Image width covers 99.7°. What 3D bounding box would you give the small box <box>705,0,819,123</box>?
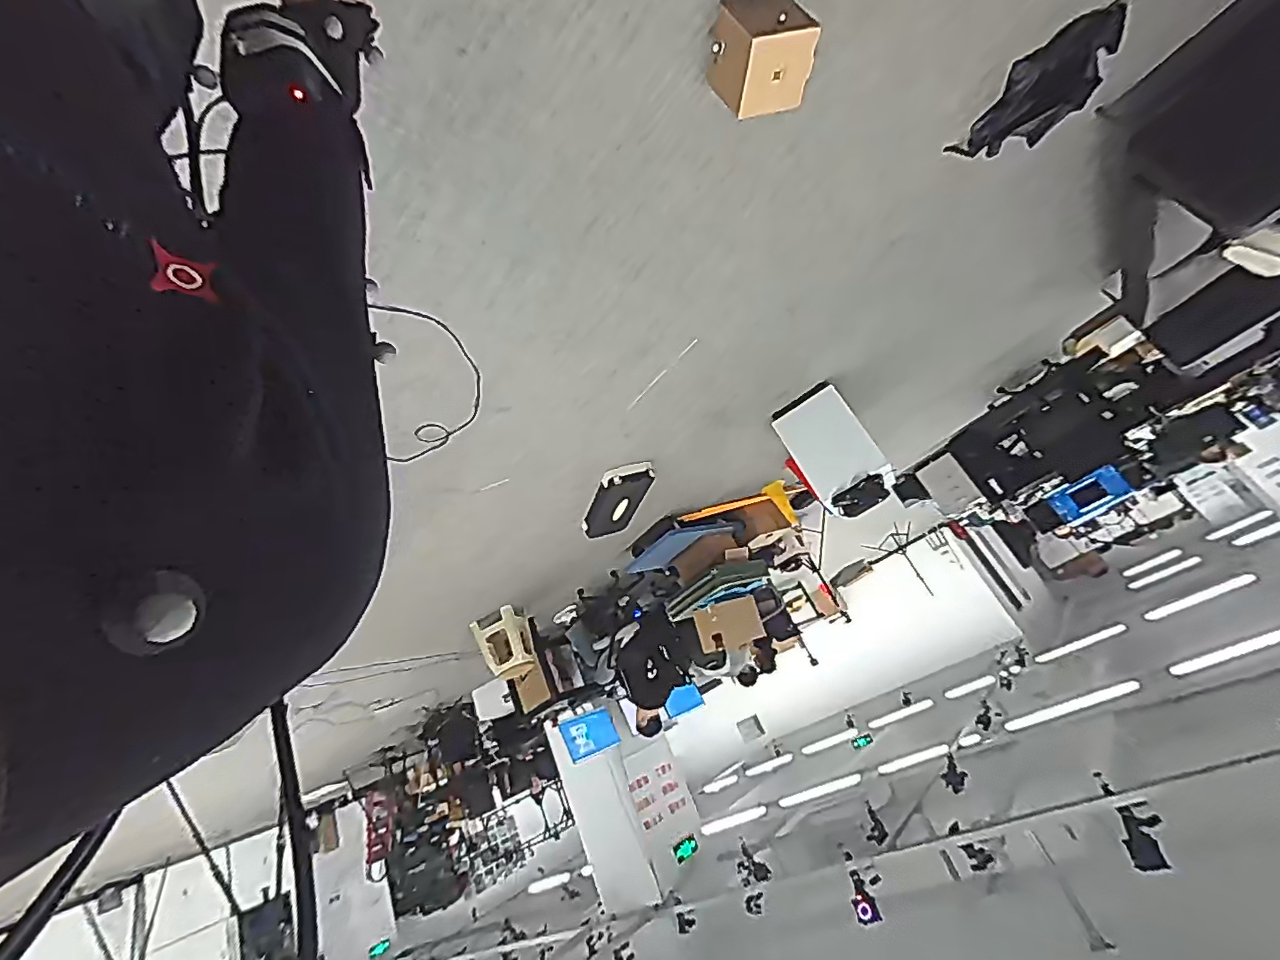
[{"bbox_3d":[0.274,-0.973,1.251,0.179,0.176,0.168,-20,155,-13],"label":"small box"}]
